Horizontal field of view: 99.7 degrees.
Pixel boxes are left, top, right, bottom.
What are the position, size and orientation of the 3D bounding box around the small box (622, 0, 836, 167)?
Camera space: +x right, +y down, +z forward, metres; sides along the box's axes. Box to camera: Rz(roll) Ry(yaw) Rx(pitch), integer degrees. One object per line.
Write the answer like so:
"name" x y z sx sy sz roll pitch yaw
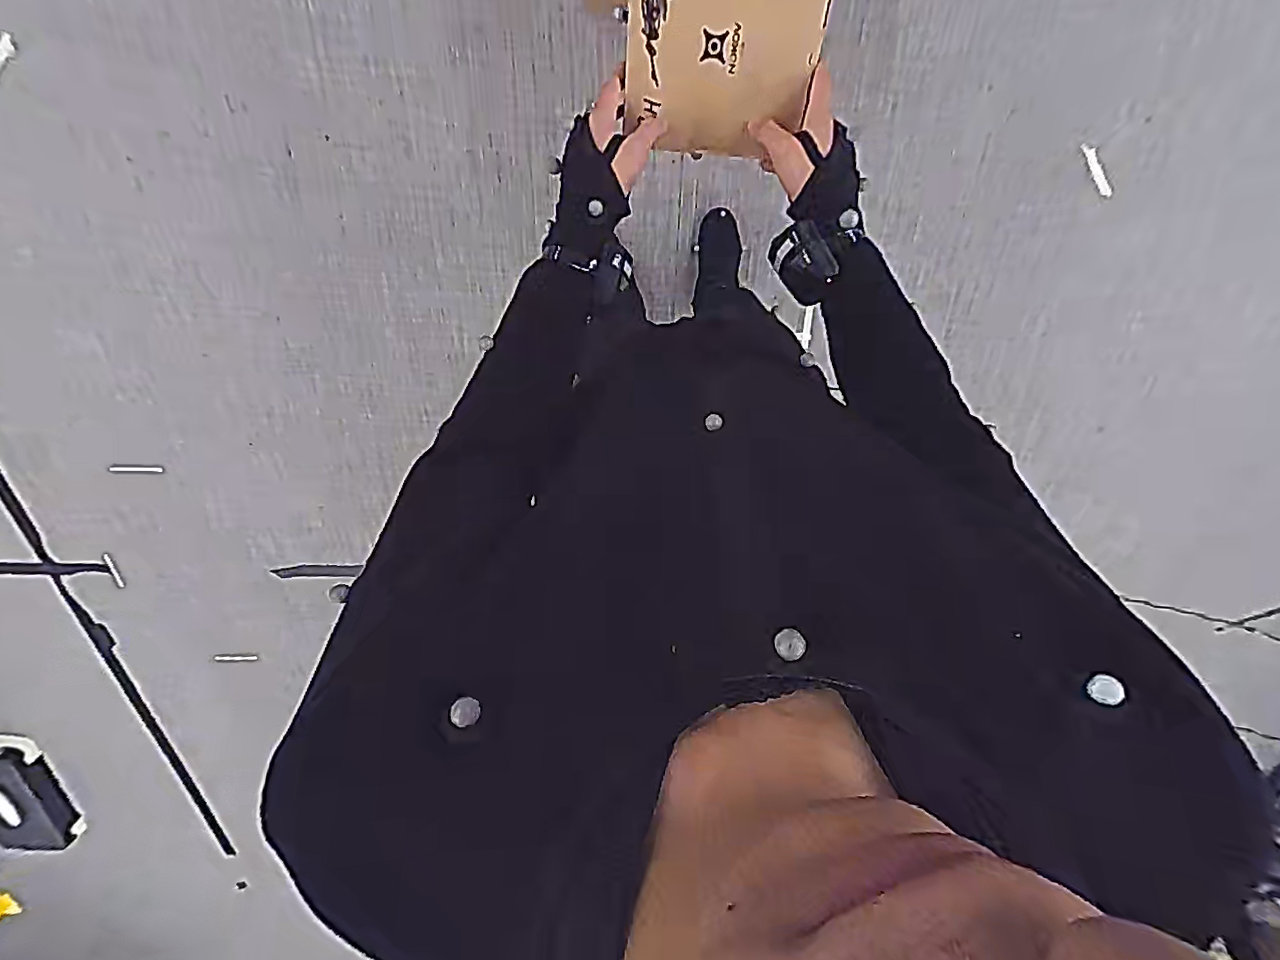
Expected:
"small box" 0.076 -0.429 0.544 0.179 0.176 0.168 4 127 -4
